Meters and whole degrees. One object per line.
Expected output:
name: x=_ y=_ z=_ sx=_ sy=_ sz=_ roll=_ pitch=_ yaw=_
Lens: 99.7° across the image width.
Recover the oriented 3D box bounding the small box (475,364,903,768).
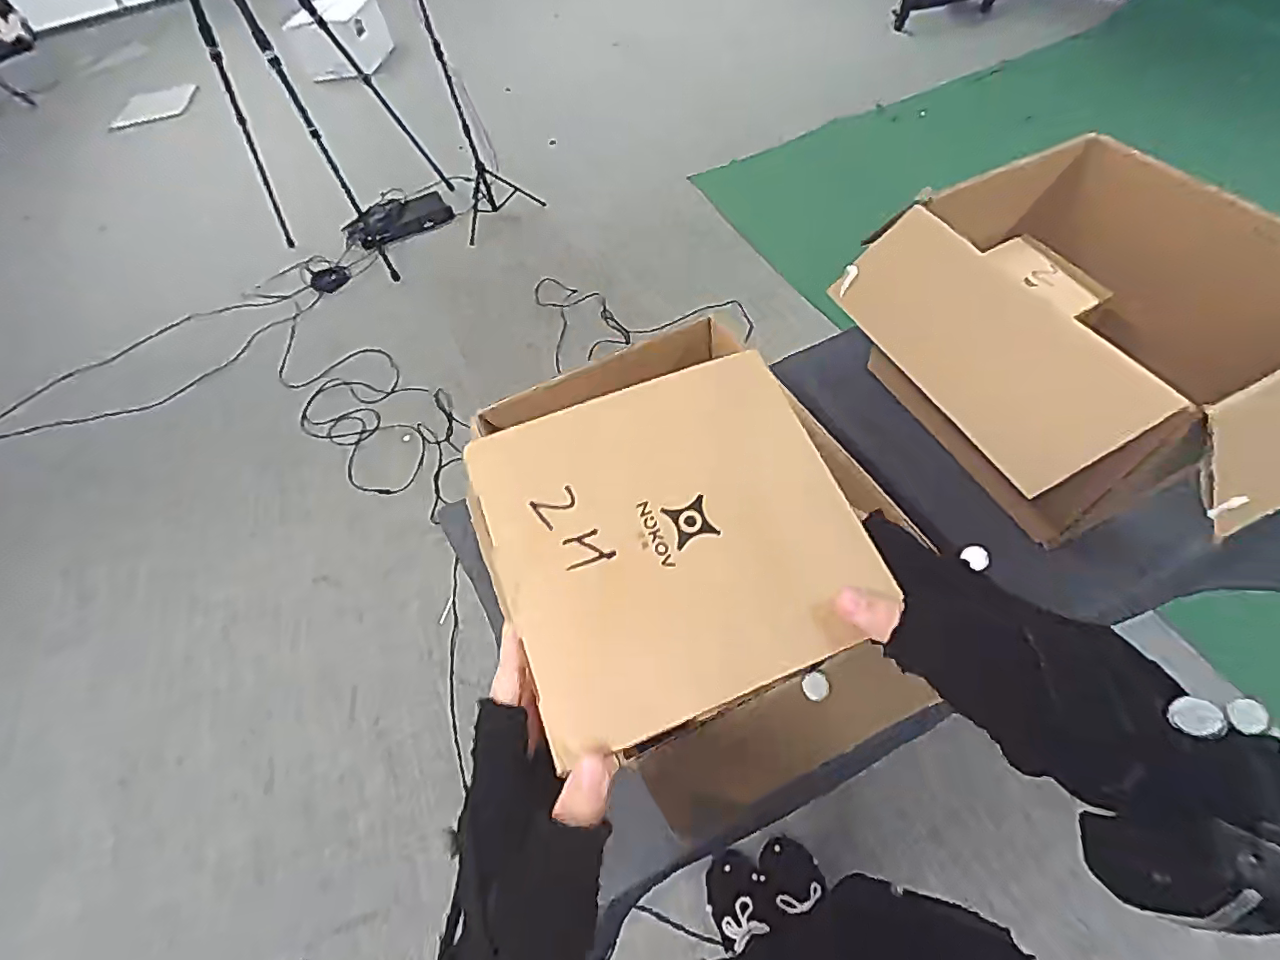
small box: x=0.016 y=0.060 z=0.345 sx=0.179 sy=0.176 sz=0.168 roll=-19 pitch=67 yaw=-10
